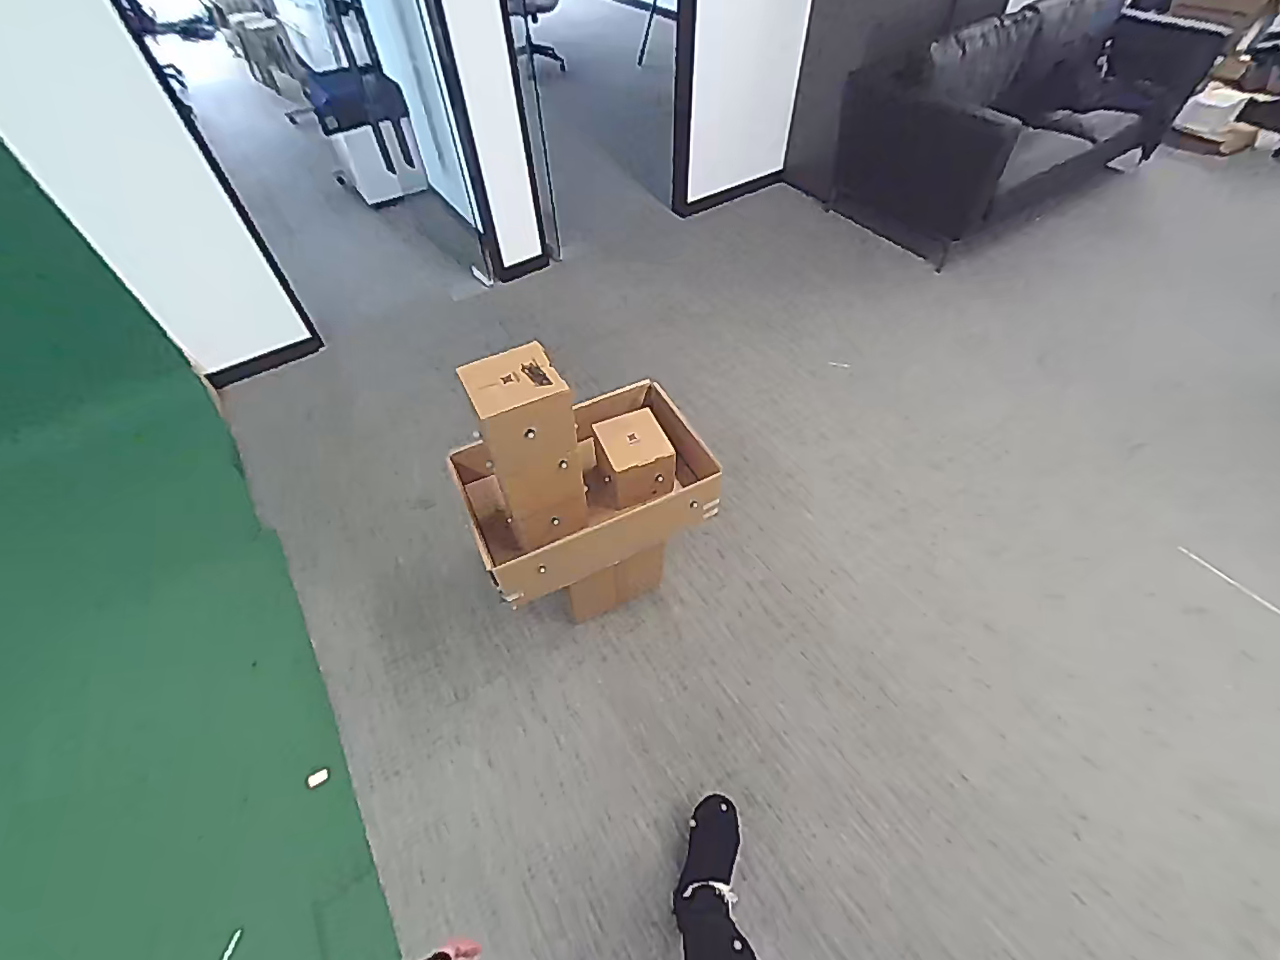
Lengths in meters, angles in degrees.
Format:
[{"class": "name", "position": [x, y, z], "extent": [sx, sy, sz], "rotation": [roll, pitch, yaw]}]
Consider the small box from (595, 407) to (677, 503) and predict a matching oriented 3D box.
[{"class": "small box", "position": [-0.008, -0.059, 1.446], "extent": [0.168, 0.176, 0.179], "rotation": [-19, 54, -12]}]

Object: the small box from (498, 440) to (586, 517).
[{"class": "small box", "position": [-0.239, -0.042, 1.243], "extent": [0.179, 0.176, 0.168], "rotation": [-22, 55, -15]}]

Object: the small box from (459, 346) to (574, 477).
[{"class": "small box", "position": [-0.245, -0.139, 1.110], "extent": [0.179, 0.176, 0.168], "rotation": [-24, 55, -15]}]
